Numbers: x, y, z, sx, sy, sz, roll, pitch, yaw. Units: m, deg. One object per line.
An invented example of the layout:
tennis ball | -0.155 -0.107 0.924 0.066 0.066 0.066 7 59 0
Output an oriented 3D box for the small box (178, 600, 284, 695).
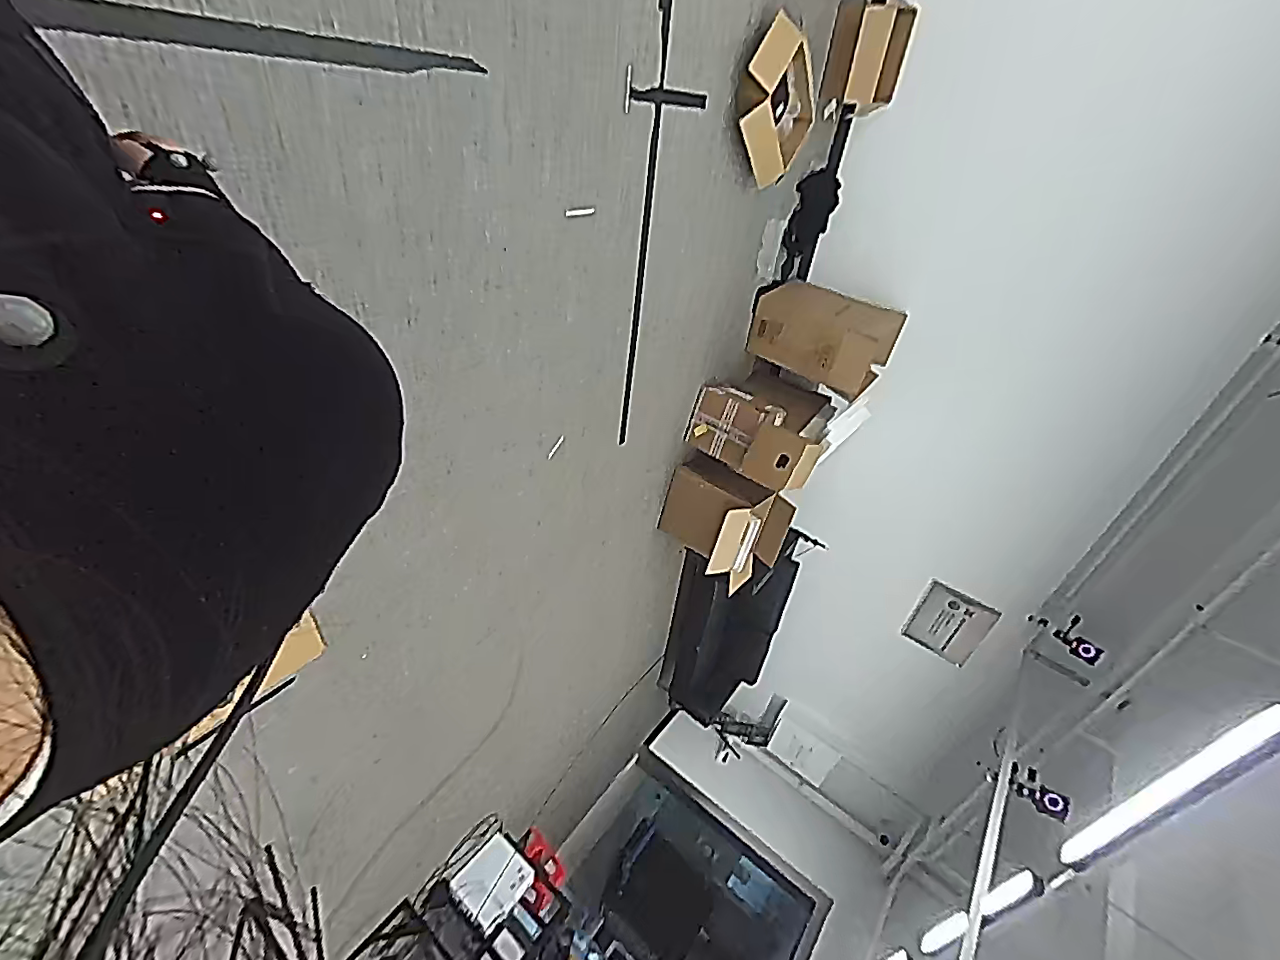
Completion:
small box | -1.181 0.474 1.562 0.168 0.176 0.179 -37 145 -39
